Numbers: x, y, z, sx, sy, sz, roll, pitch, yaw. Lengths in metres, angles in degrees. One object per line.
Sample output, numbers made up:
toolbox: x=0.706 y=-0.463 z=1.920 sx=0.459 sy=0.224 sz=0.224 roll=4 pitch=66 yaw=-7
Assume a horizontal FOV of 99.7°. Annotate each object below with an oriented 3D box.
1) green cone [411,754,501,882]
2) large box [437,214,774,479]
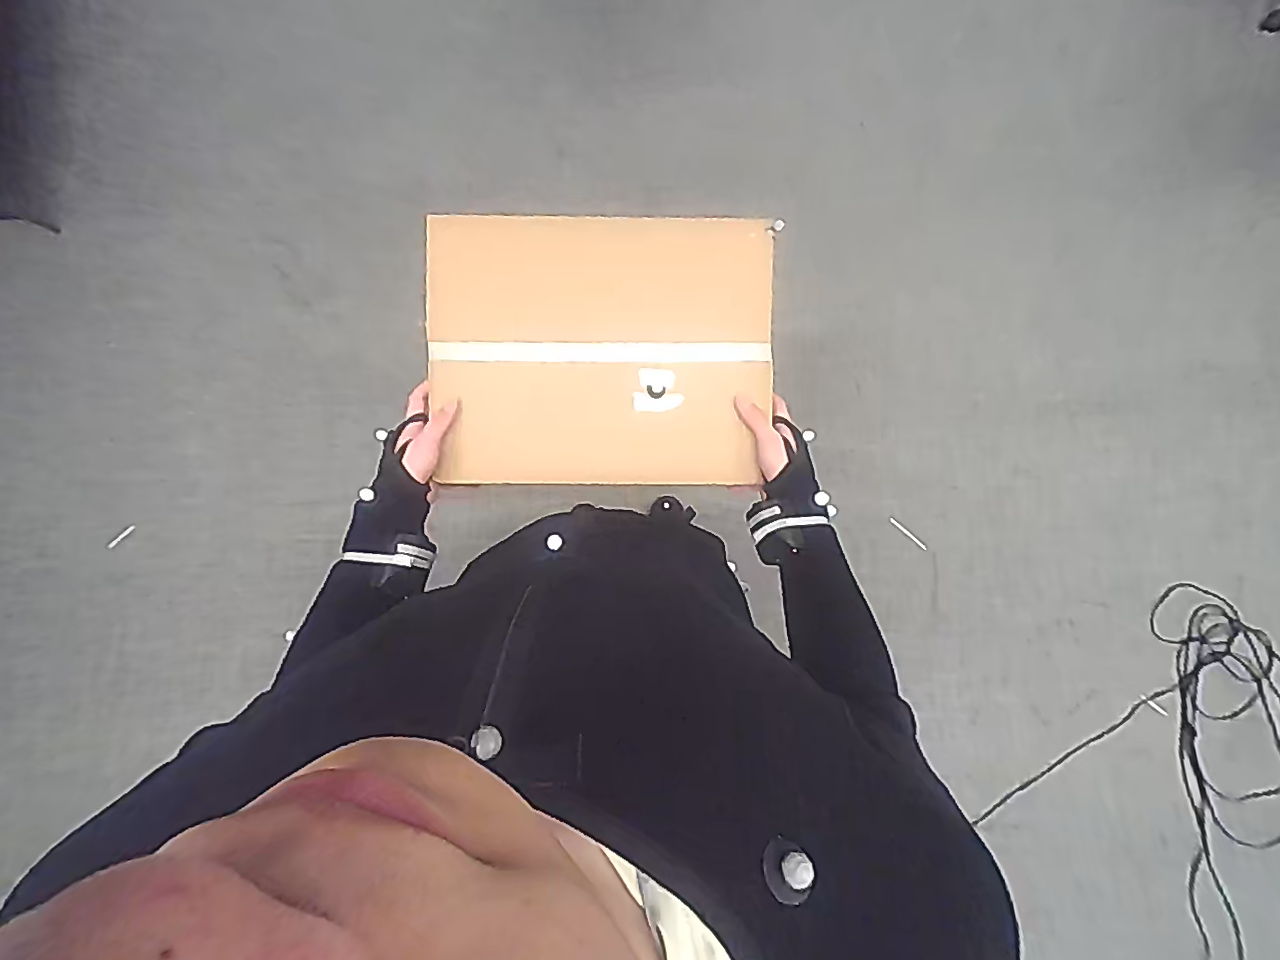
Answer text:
green cone: x=-0.522 y=0.922 z=1.446 sx=0.200 sy=0.368 sz=0.202 roll=4 pitch=89 yaw=0
large box: x=-0.043 y=-0.167 z=0.793 sx=0.408 sy=0.320 sz=0.320 roll=0 pitch=94 yaw=-1
